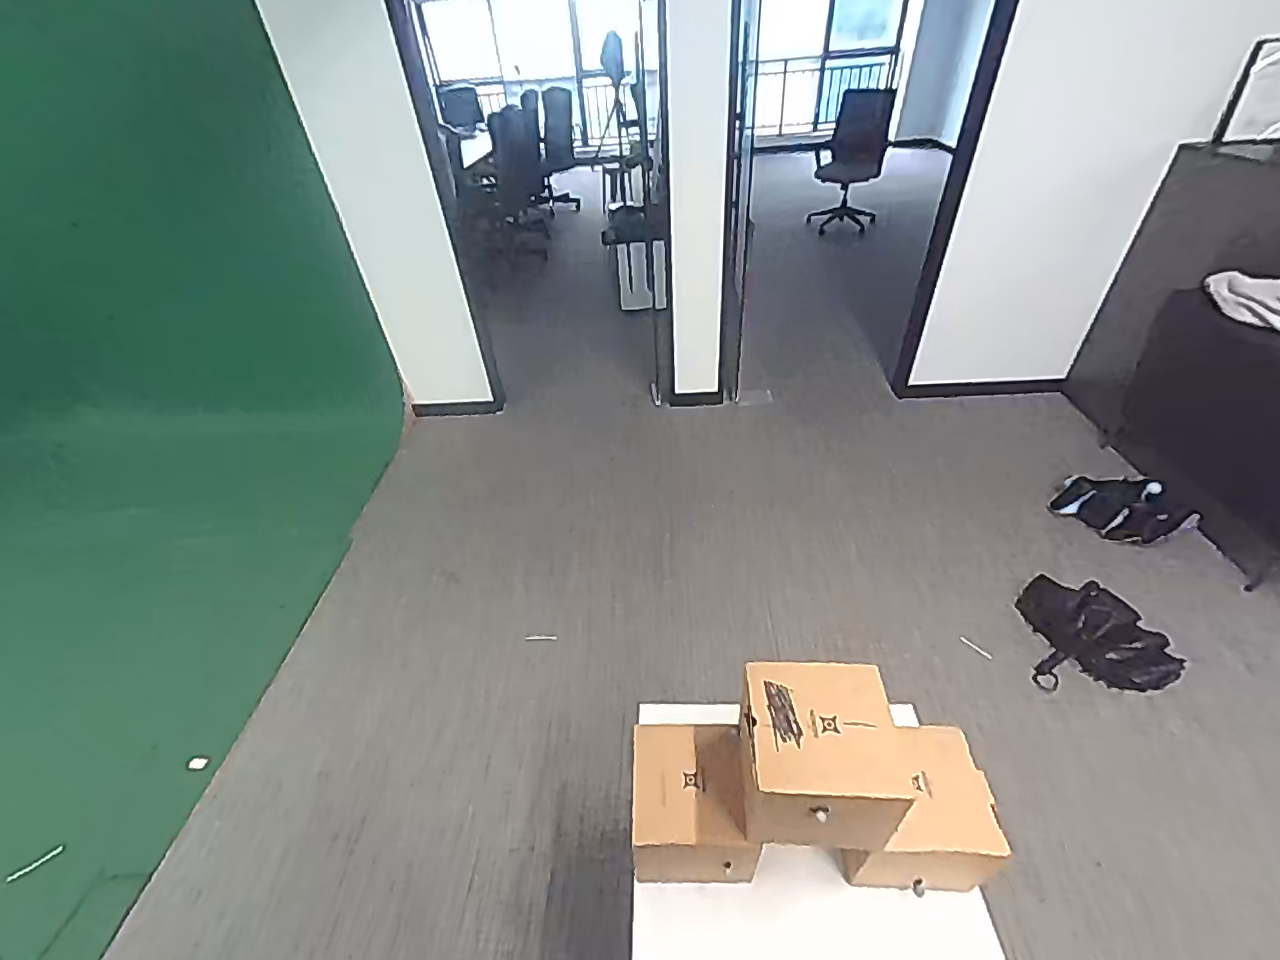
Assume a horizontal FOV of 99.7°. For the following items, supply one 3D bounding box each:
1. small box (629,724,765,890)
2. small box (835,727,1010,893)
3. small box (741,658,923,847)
[{"bbox_3d":[0.072,0.481,0.798,0.179,0.176,0.168,-1,38,0],"label":"small box"},{"bbox_3d":[0.385,0.482,0.792,0.179,0.176,0.168,-1,39,3],"label":"small box"},{"bbox_3d":[0.226,0.350,0.697,0.179,0.176,0.168,1,39,2],"label":"small box"}]
